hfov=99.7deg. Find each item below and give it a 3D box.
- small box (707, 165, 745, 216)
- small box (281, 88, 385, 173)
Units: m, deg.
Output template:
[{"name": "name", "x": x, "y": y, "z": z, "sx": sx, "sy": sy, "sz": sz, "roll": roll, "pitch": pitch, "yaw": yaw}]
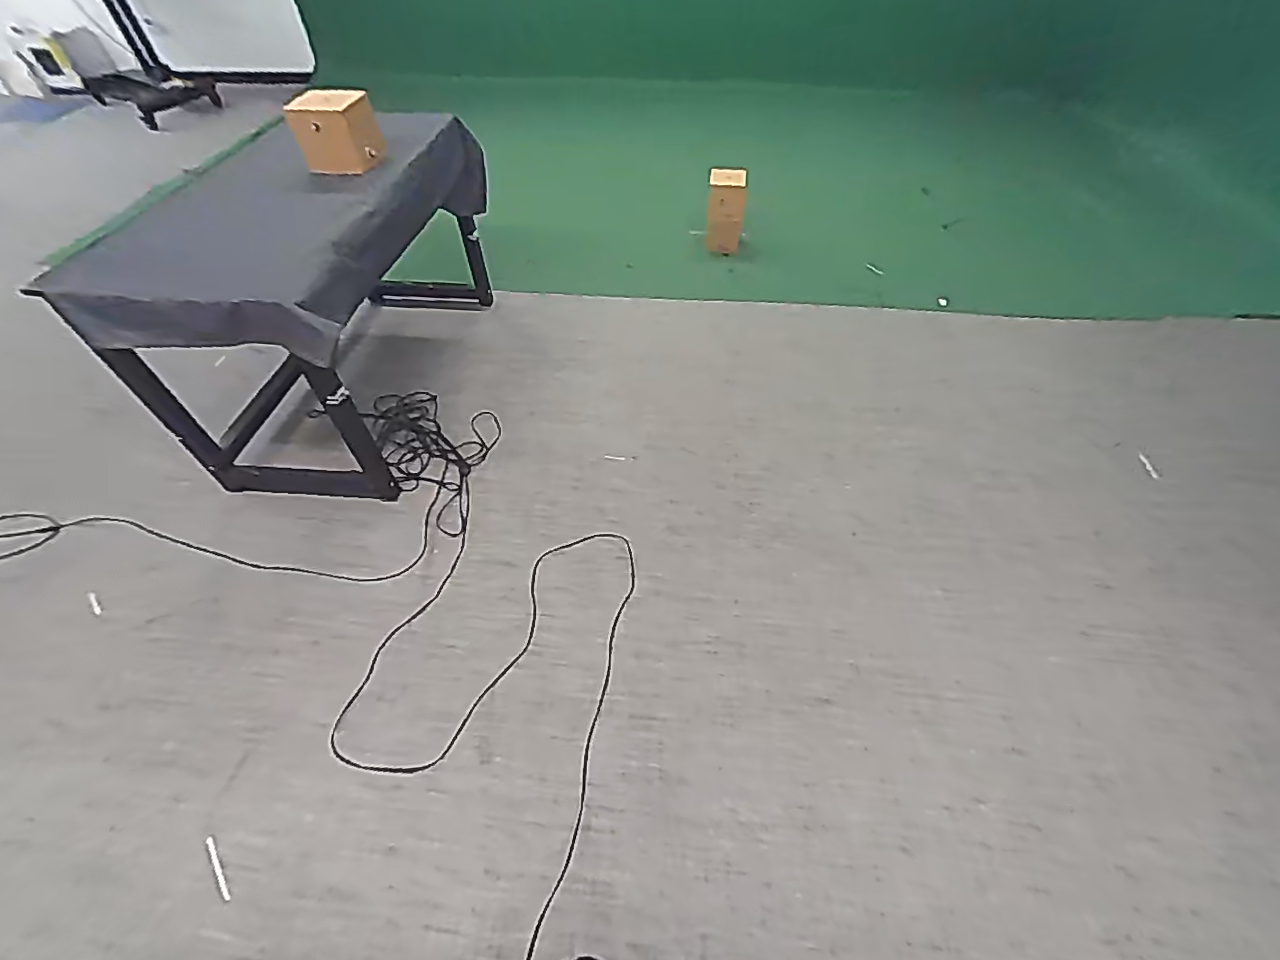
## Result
[{"name": "small box", "x": 0.409, "y": -1.380, "z": 2.581, "sx": 0.168, "sy": 0.176, "sz": 0.179, "roll": 5, "pitch": 51, "yaw": 5}, {"name": "small box", "x": -0.885, "y": -1.017, "z": 1.577, "sx": 0.179, "sy": 0.176, "sz": 0.168, "roll": 5, "pitch": 52, "yaw": 4}]
